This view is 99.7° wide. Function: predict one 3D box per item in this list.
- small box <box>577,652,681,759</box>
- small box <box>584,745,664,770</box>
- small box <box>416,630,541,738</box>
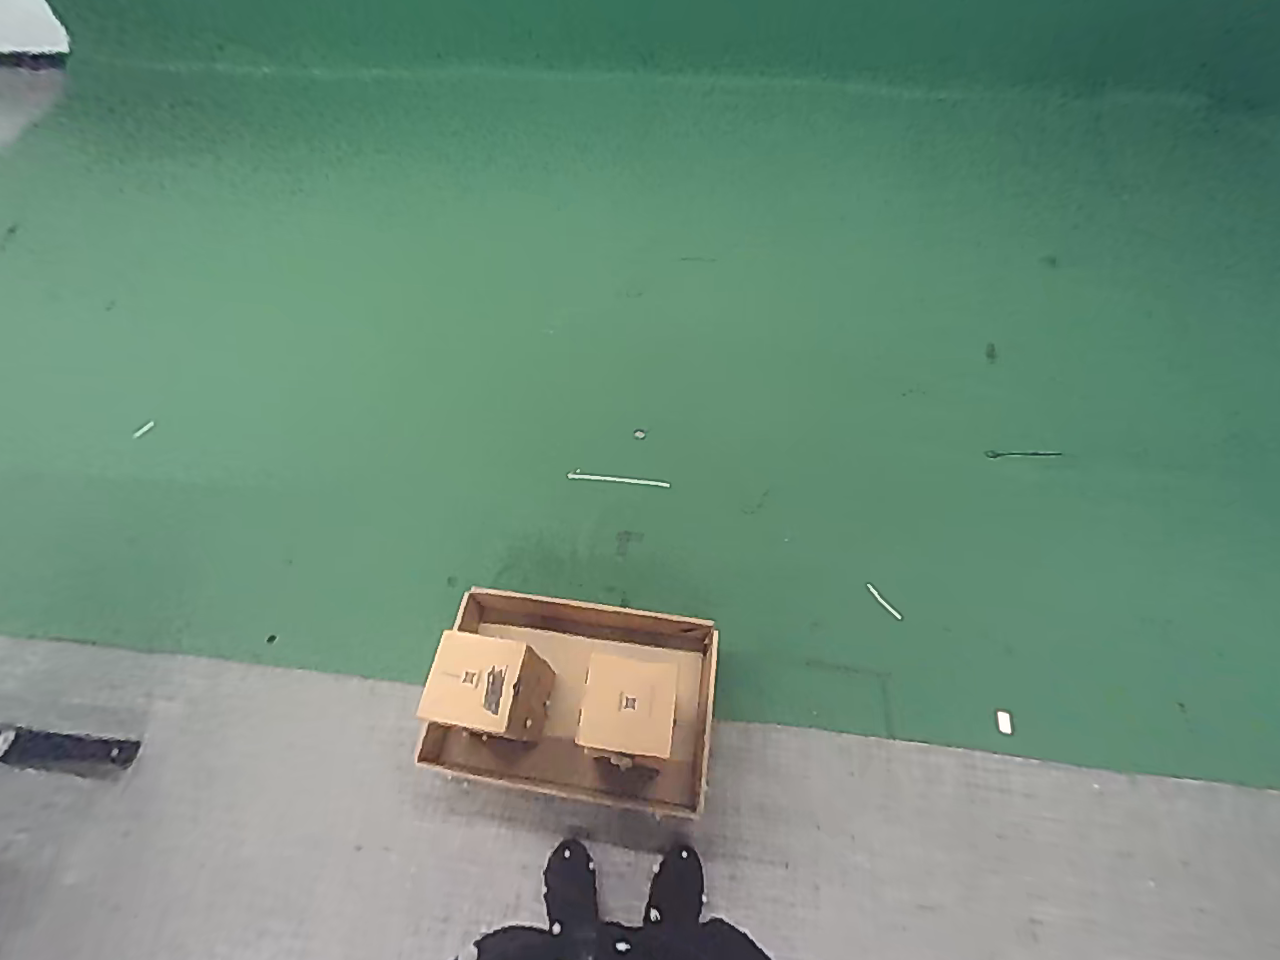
[{"bbox_3d":[-0.015,0.448,1.064,0.179,0.176,0.168,6,63,5],"label":"small box"},{"bbox_3d":[-0.017,0.534,1.203,0.168,0.176,0.179,8,62,7],"label":"small box"},{"bbox_3d":[-0.311,0.414,1.086,0.179,0.176,0.168,7,61,6],"label":"small box"}]
